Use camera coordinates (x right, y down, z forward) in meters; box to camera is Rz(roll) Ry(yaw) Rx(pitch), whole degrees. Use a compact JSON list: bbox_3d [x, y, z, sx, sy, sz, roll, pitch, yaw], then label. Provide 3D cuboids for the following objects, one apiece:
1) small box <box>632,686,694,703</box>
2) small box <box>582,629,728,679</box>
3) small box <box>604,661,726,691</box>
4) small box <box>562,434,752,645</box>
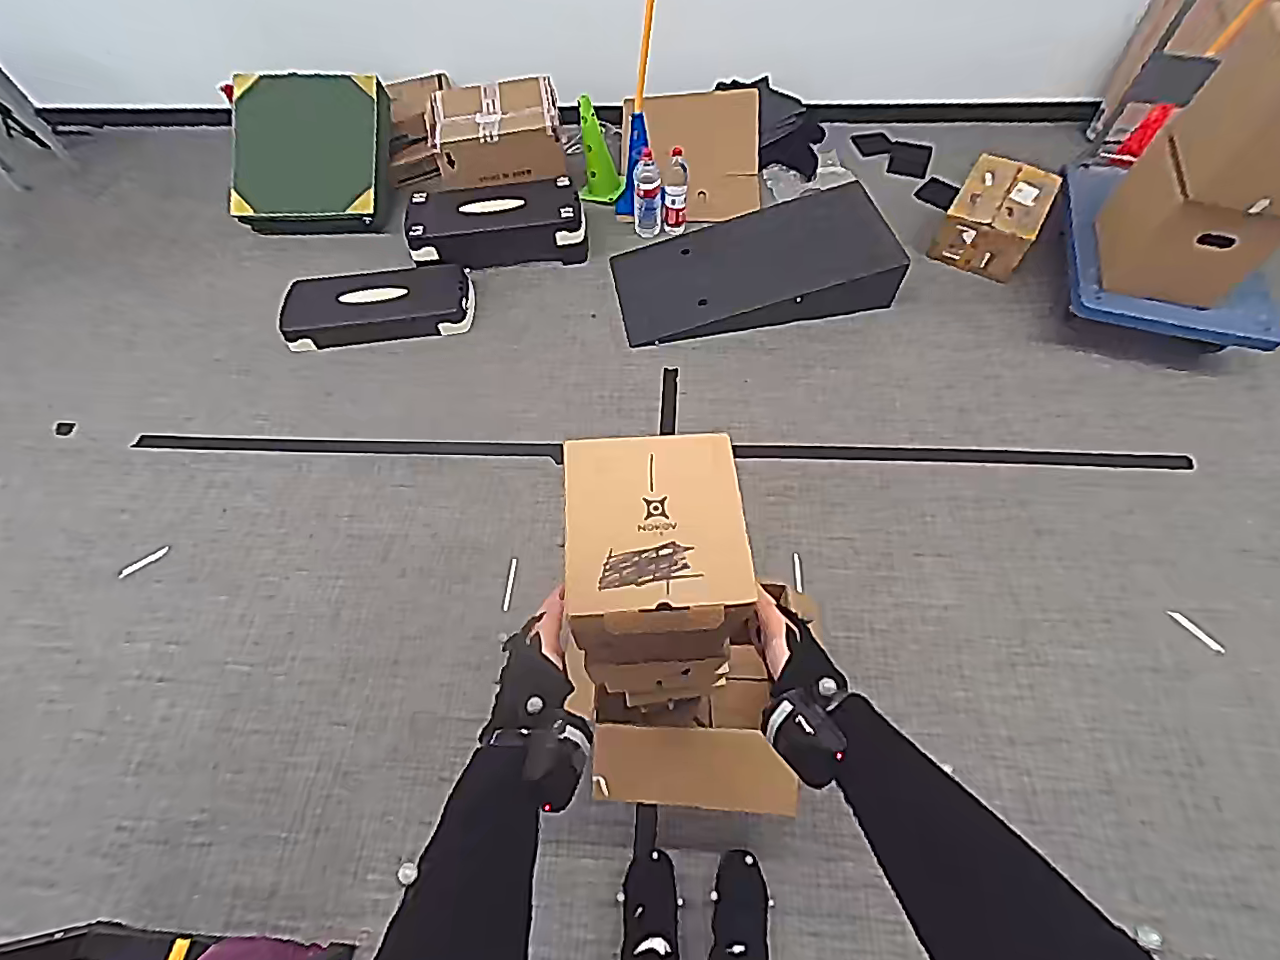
[{"bbox_3d":[0.053,0.364,1.153,0.179,0.176,0.168,-15,64,-10],"label":"small box"},{"bbox_3d":[0.013,0.161,0.704,0.168,0.176,0.179,-2,63,-3],"label":"small box"},{"bbox_3d":[0.028,0.234,0.850,0.179,0.176,0.168,-3,64,-3],"label":"small box"},{"bbox_3d":[0.009,0.071,0.566,0.168,0.176,0.179,-3,63,-4],"label":"small box"}]
